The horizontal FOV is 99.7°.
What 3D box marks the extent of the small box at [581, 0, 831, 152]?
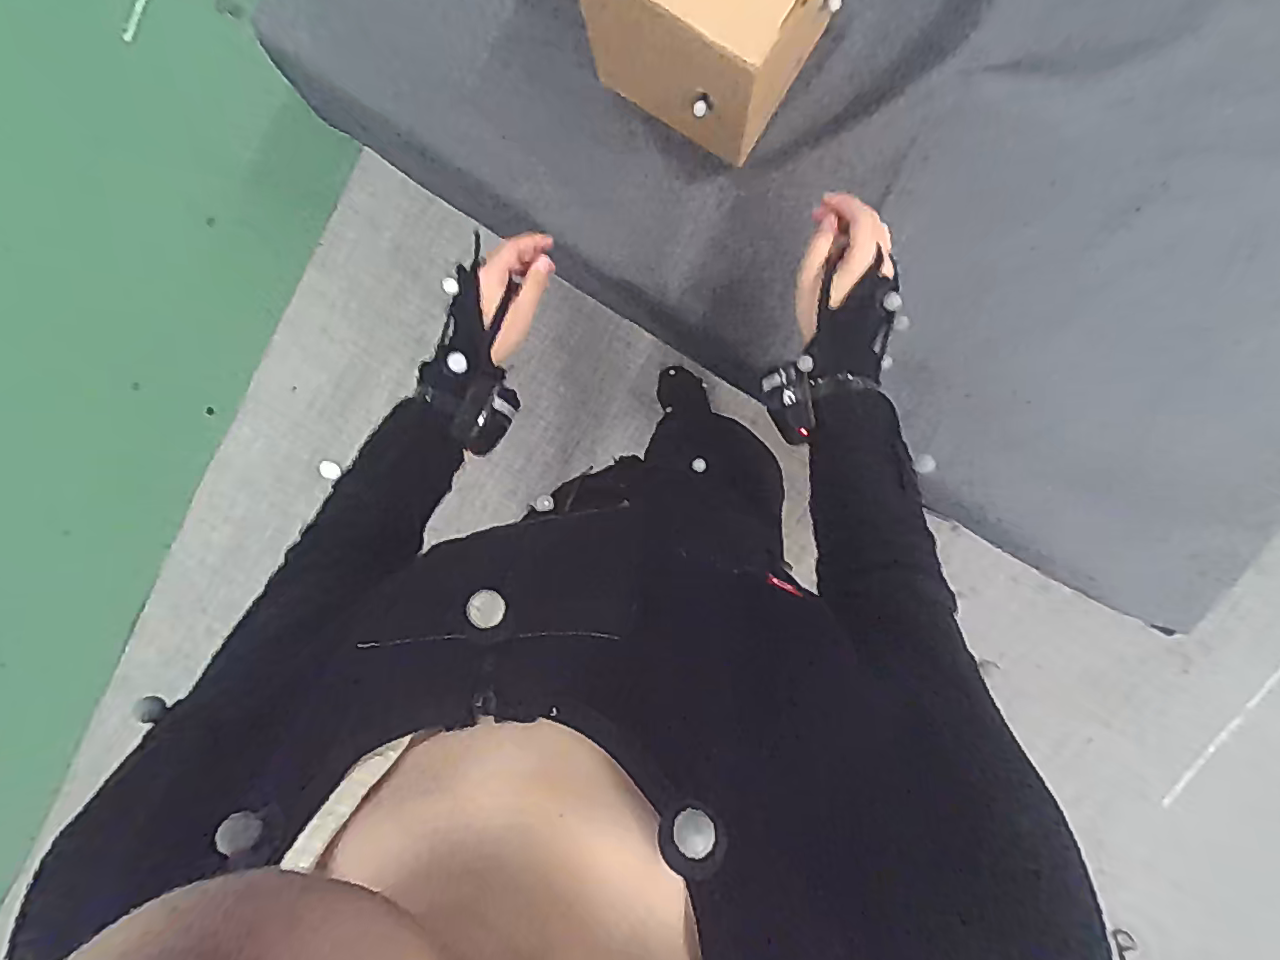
[{"bbox_3d":[0.067,-0.432,0.477,0.179,0.176,0.168,32,97,1],"label":"small box"}]
